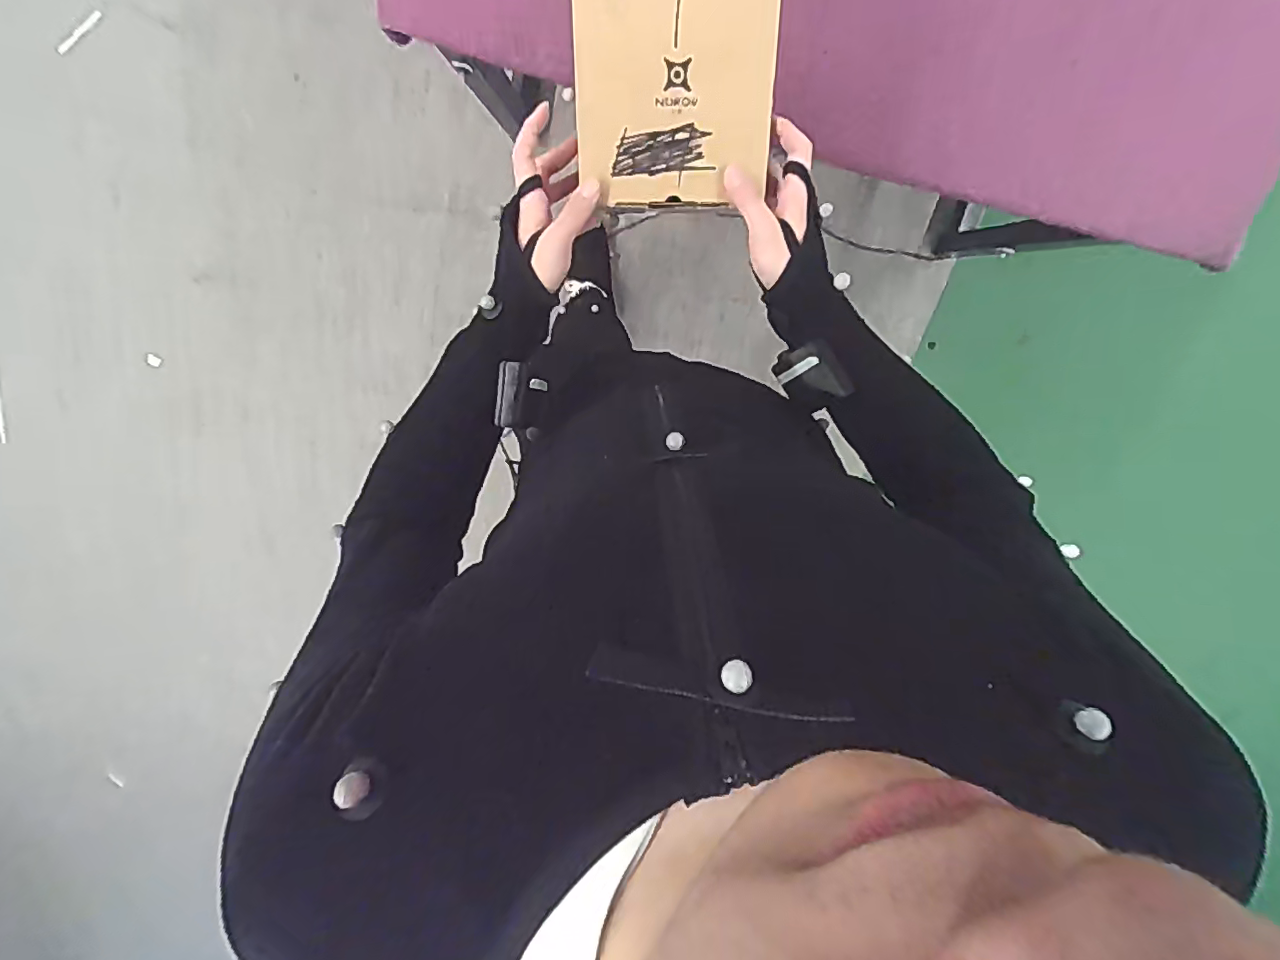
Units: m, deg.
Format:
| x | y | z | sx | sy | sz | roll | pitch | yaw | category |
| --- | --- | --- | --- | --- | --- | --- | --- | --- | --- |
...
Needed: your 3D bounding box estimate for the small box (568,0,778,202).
| x | y | z | sx | sy | sz | roll | pitch | yaw | category |
| --- | --- | --- | --- | --- | --- | --- | --- | --- | --- |
| 0.022 | -0.362 | 0.507 | 0.168 | 0.176 | 0.179 | -1 | 114 | -3 | small box |
